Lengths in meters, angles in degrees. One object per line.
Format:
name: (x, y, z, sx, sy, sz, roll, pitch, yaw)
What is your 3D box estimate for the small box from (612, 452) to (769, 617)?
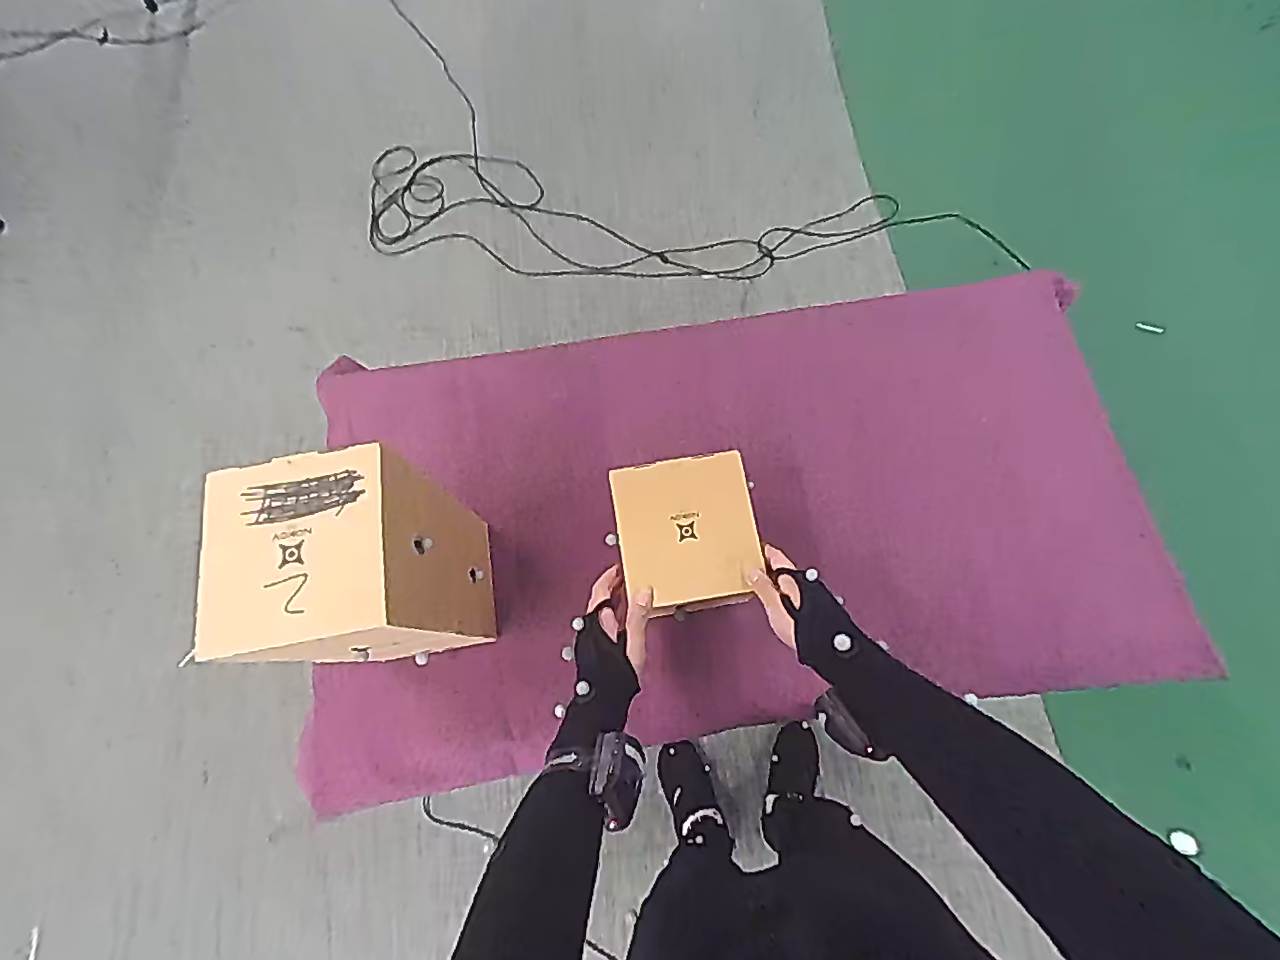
small box: (0.061, 0.083, 0.719, 0.168, 0.176, 0.179, -9, 71, -1)

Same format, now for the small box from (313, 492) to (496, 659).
small box: (-0.296, 0.133, 0.710, 0.168, 0.176, 0.179, -10, 72, -1)
